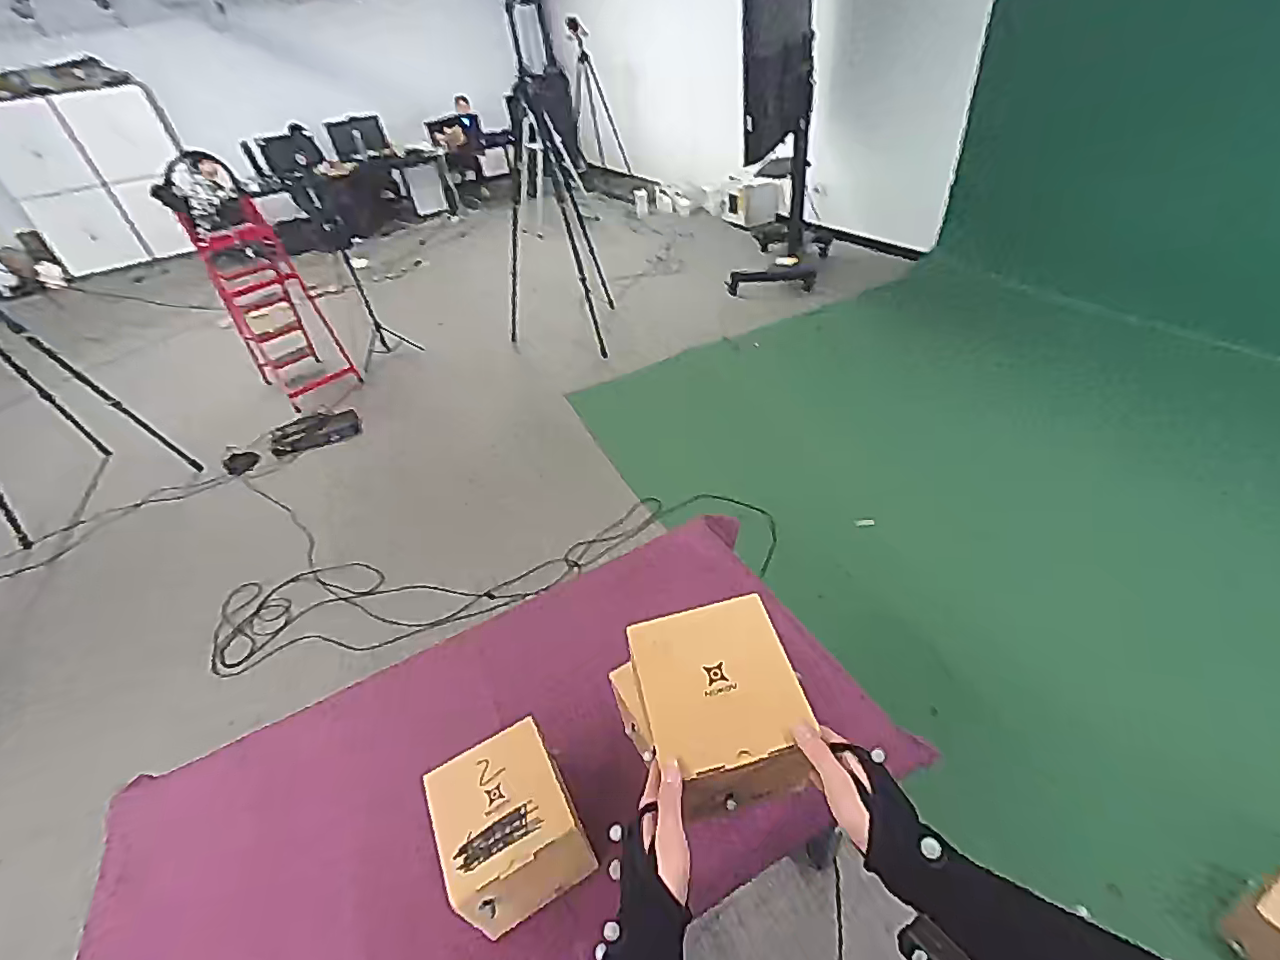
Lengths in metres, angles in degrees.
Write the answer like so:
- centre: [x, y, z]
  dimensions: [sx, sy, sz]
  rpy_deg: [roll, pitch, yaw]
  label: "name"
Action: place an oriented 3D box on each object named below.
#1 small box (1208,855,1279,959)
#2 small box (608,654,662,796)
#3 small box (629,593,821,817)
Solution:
- centre: [1.338, 0.925, 1.110]
  dimensions: [0.179, 0.176, 0.168]
  rpy_deg: [-24, 42, -19]
  label: "small box"
- centre: [0.067, 0.370, 0.856]
  dimensions: [0.168, 0.176, 0.179]
  rpy_deg: [-24, 42, -17]
  label: "small box"
- centre: [0.087, 0.266, 0.640]
  dimensions: [0.168, 0.176, 0.179]
  rpy_deg: [-12, 48, -6]
  label: "small box"
